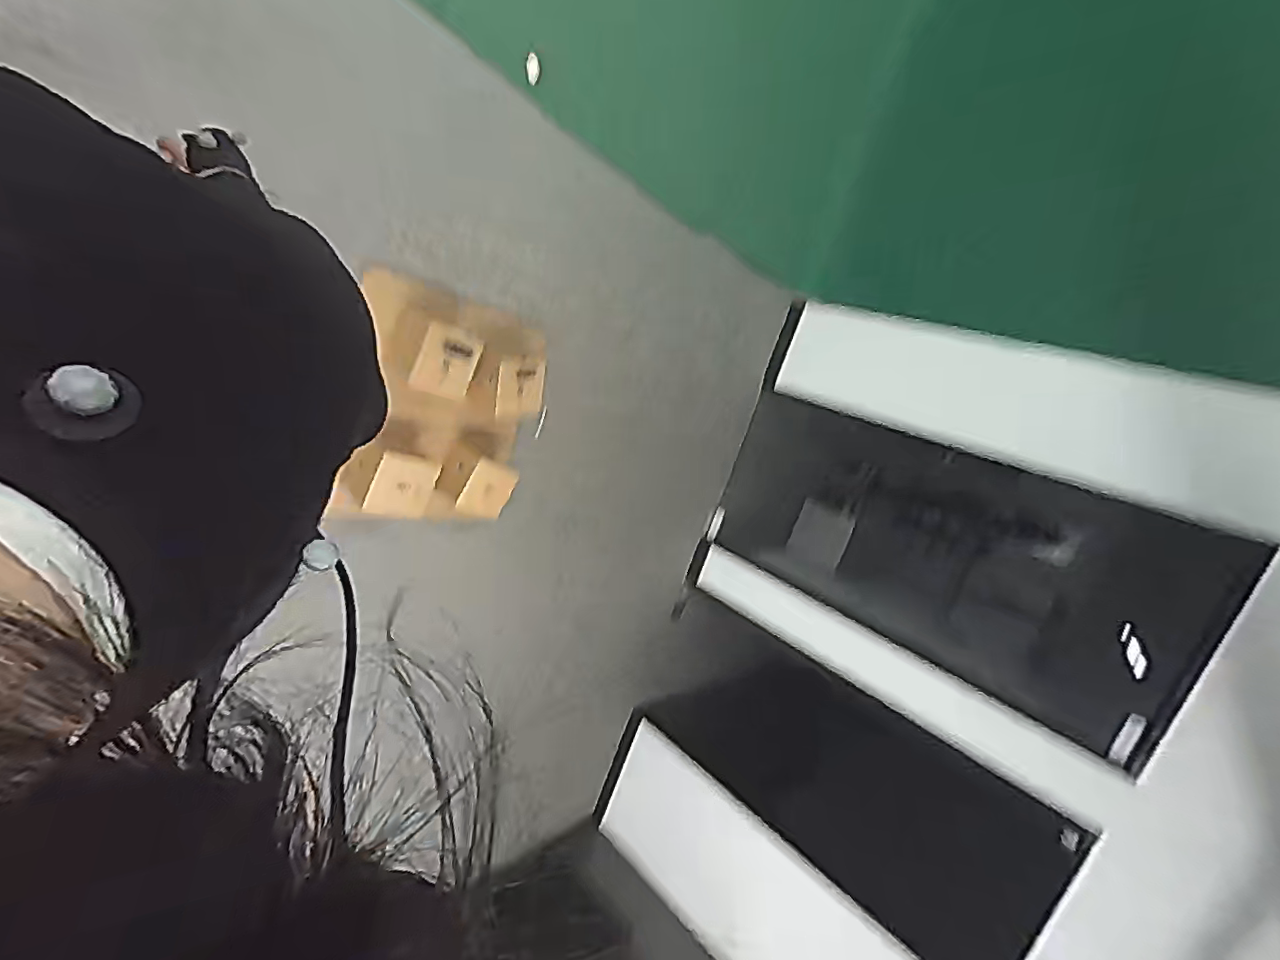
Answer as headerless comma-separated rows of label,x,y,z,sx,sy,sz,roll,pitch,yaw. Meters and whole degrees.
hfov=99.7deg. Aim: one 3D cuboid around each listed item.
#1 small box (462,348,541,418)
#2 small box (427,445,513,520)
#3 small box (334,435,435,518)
small box,-0.432,-0.303,1.672,0.168,0.176,0.179,-12,123,-47
small box,-0.550,0.004,1.727,0.168,0.176,0.179,-61,145,-2
small box,-0.716,-0.013,1.507,0.179,0.176,0.168,20,97,-54
